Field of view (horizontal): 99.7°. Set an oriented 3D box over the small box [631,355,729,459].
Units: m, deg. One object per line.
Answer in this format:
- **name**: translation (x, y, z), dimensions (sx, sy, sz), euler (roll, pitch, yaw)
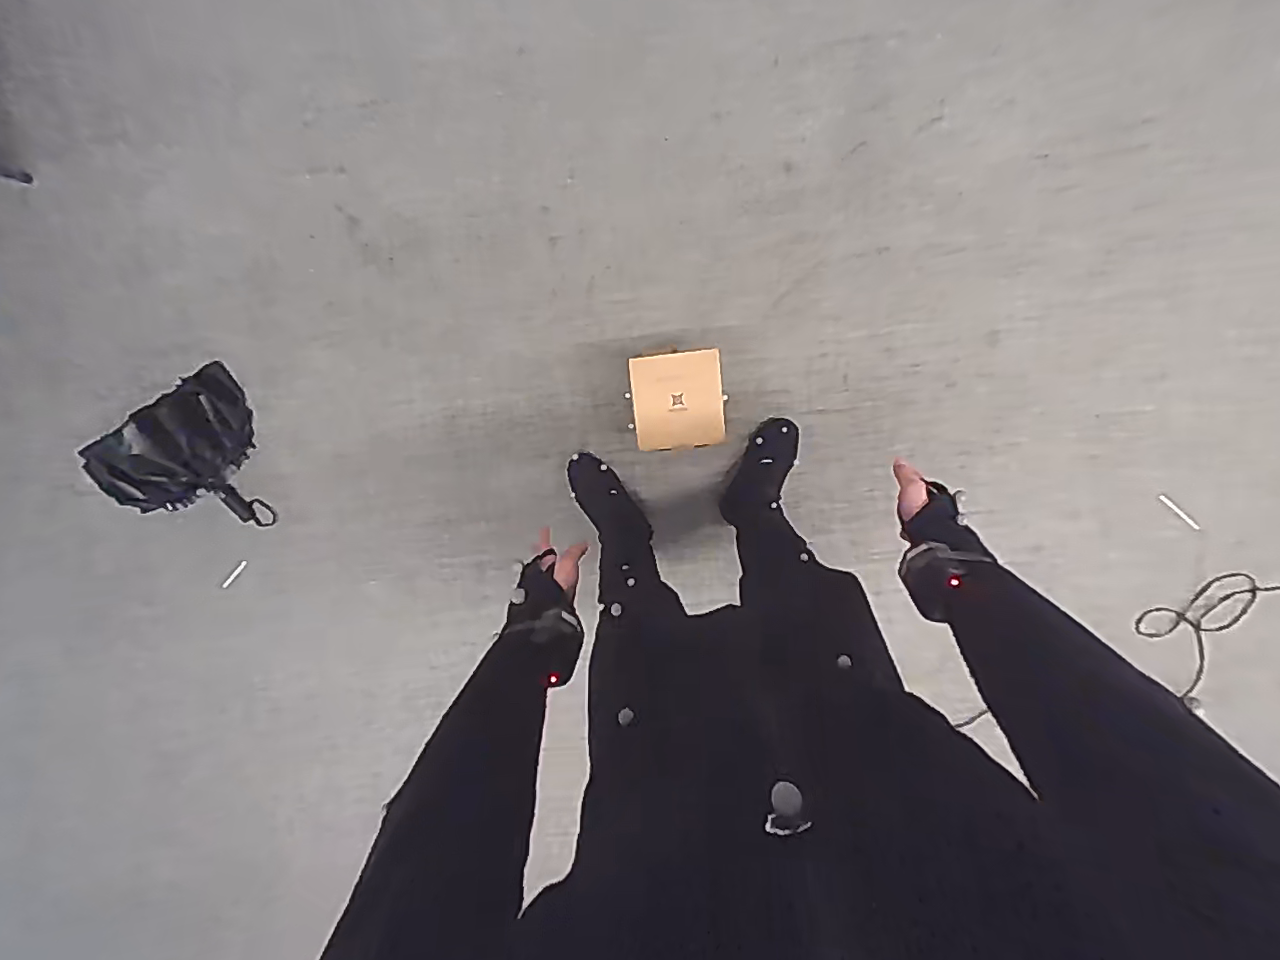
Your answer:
- **small box**: translation (0.077, -0.147, 1.067), dimensions (0.168, 0.176, 0.179), euler (-8, 100, 2)
